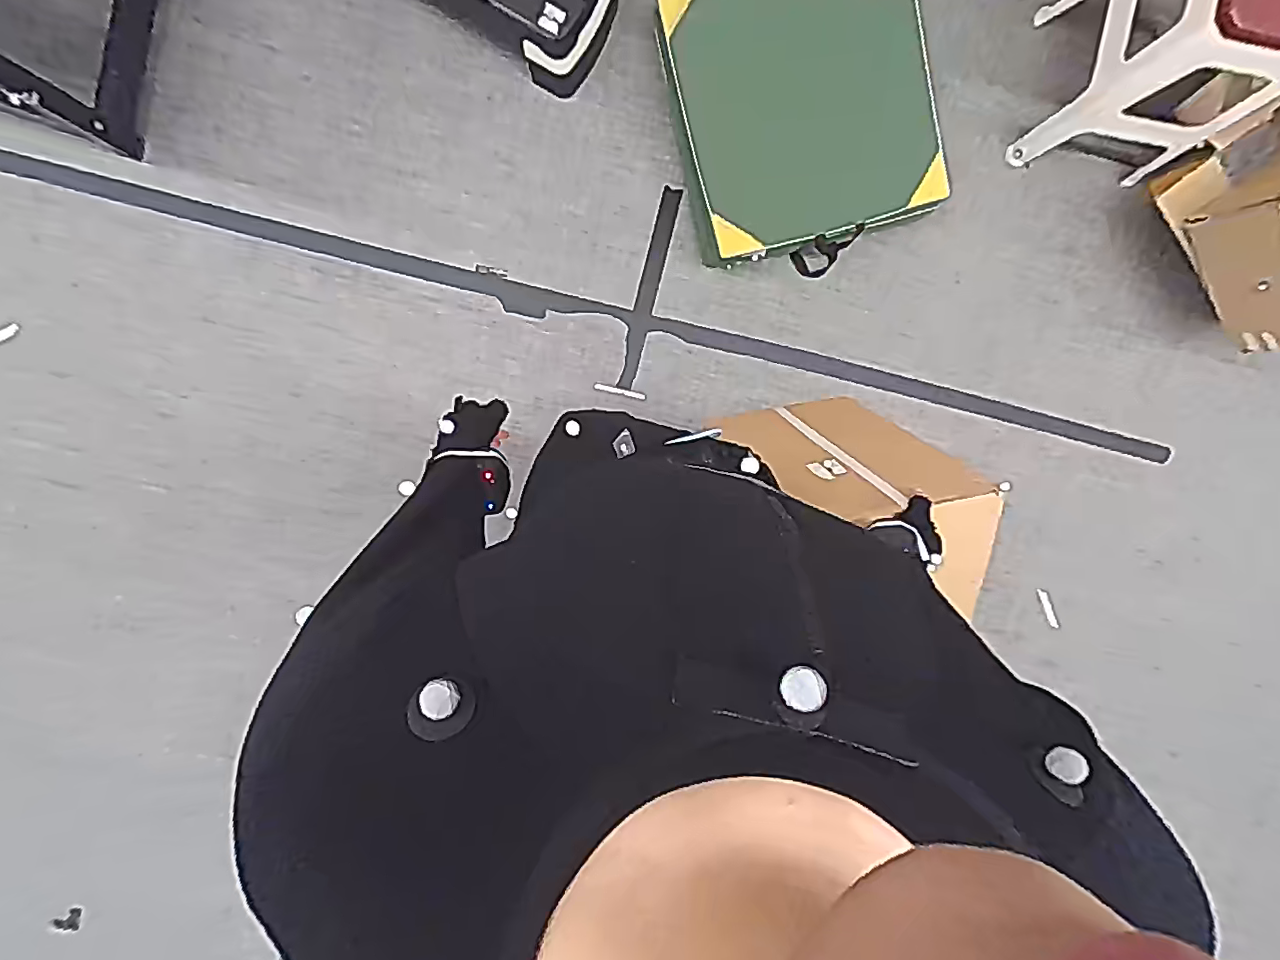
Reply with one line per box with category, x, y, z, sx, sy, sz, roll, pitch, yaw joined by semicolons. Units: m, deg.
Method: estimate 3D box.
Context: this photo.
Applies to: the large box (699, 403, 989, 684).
large box;0.319;0.088;0.993;0.320;0.408;0.320;-11;121;-10
